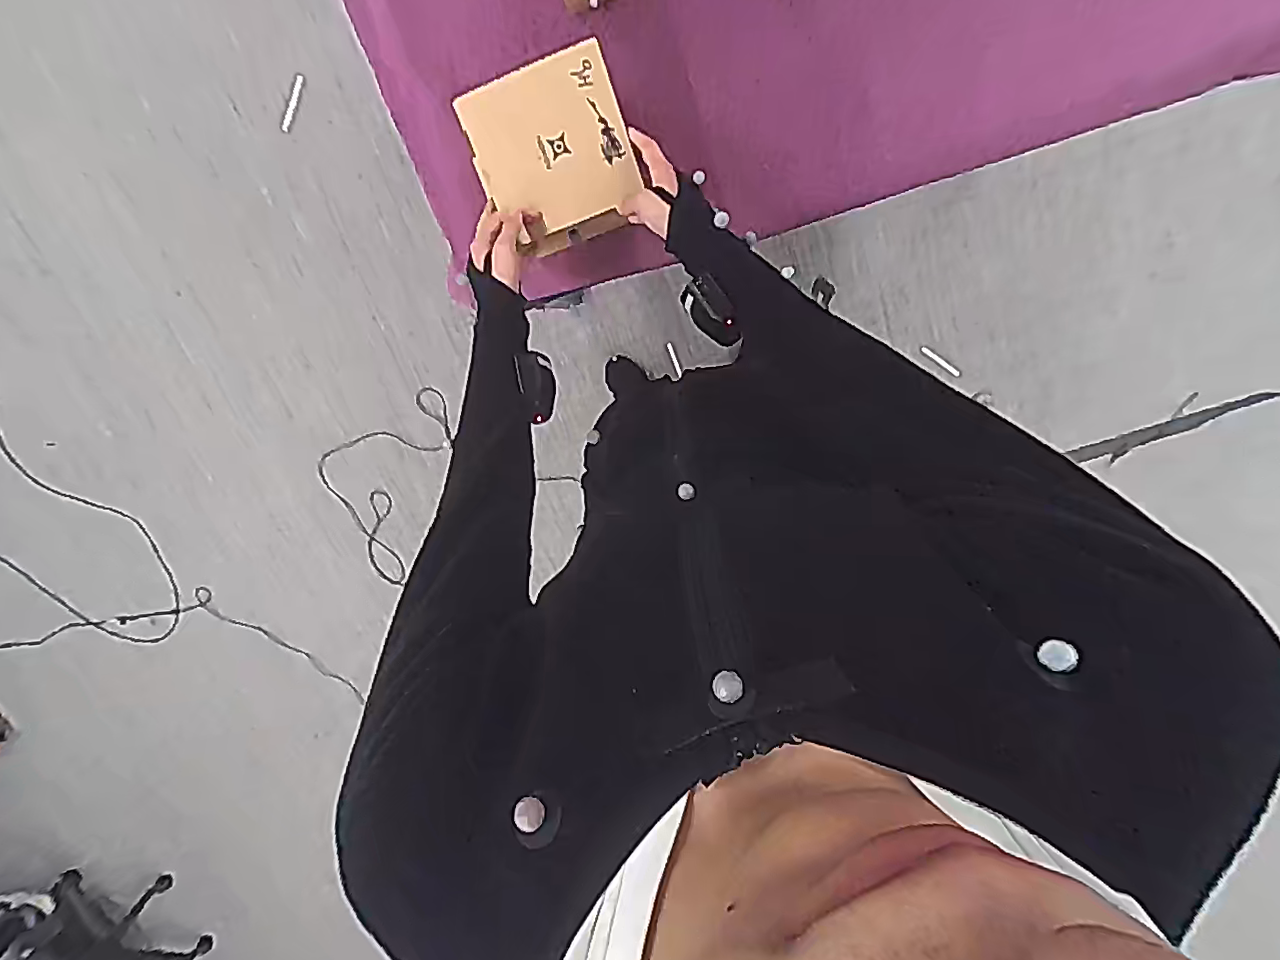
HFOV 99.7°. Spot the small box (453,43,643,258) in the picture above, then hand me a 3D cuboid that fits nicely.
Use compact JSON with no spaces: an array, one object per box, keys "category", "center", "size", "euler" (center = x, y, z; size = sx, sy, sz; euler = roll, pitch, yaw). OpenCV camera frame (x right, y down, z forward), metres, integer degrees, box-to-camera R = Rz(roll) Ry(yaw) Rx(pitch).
[{"category":"small box","center":[-0.103,-0.400,0.695],"size":[0.179,0.176,0.168],"euler":[-19,107,7]}]

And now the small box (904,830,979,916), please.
[{"category":"small box","center":[1.093,1.427,1.968],"size":[0.168,0.176,0.179],"euler":[-20,103,6]}]

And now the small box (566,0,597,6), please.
[{"category":"small box","center":[-0.050,-0.687,0.606],"size":[0.168,0.176,0.179],"euler":[-20,106,6]}]
